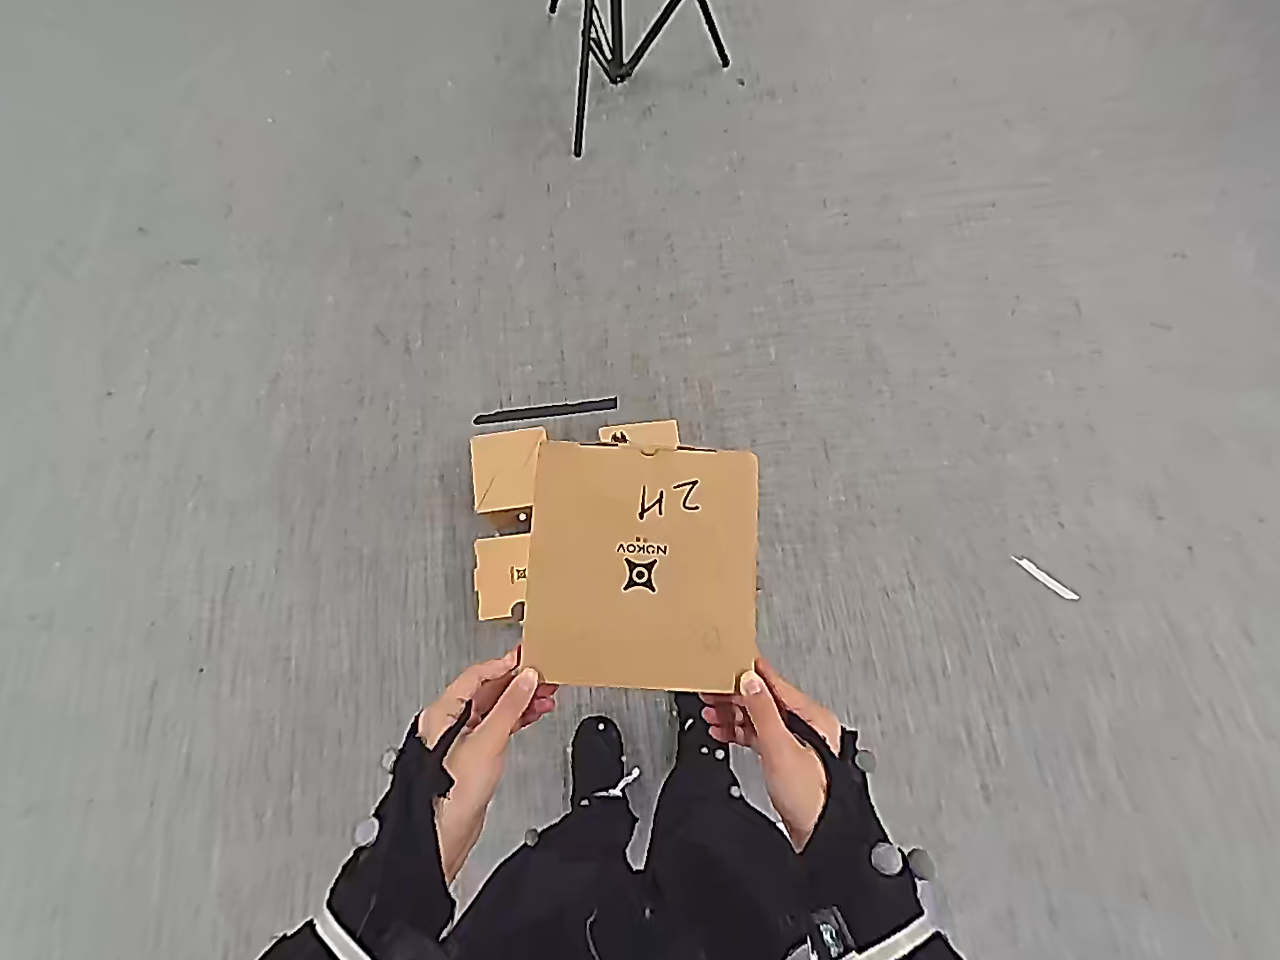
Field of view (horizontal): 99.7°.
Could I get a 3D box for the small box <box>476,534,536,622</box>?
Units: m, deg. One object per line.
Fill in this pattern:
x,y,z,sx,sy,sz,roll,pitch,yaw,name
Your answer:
-0.247,0.216,1.179,0.179,0.176,0.168,-7,74,-2,small box

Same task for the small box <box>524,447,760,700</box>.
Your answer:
0.003,0.077,0.473,0.168,0.176,0.179,3,81,0,small box
